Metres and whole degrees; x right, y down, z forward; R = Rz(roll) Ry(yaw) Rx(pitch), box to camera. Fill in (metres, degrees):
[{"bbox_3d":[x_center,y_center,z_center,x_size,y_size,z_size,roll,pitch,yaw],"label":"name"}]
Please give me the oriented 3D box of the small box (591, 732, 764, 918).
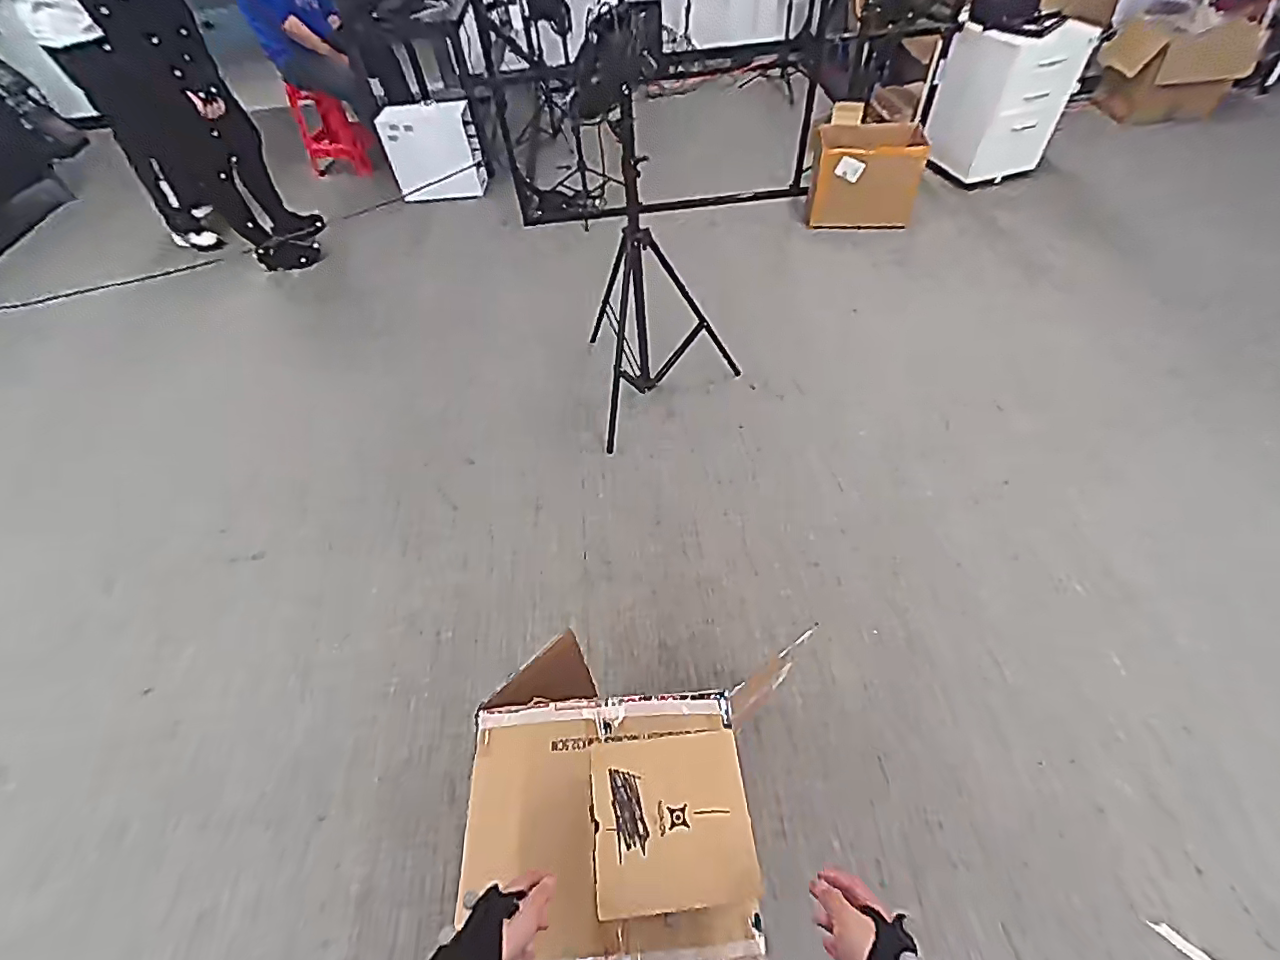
[{"bbox_3d":[0.038,0.422,0.661,0.179,0.176,0.168,-5,54,-2],"label":"small box"}]
